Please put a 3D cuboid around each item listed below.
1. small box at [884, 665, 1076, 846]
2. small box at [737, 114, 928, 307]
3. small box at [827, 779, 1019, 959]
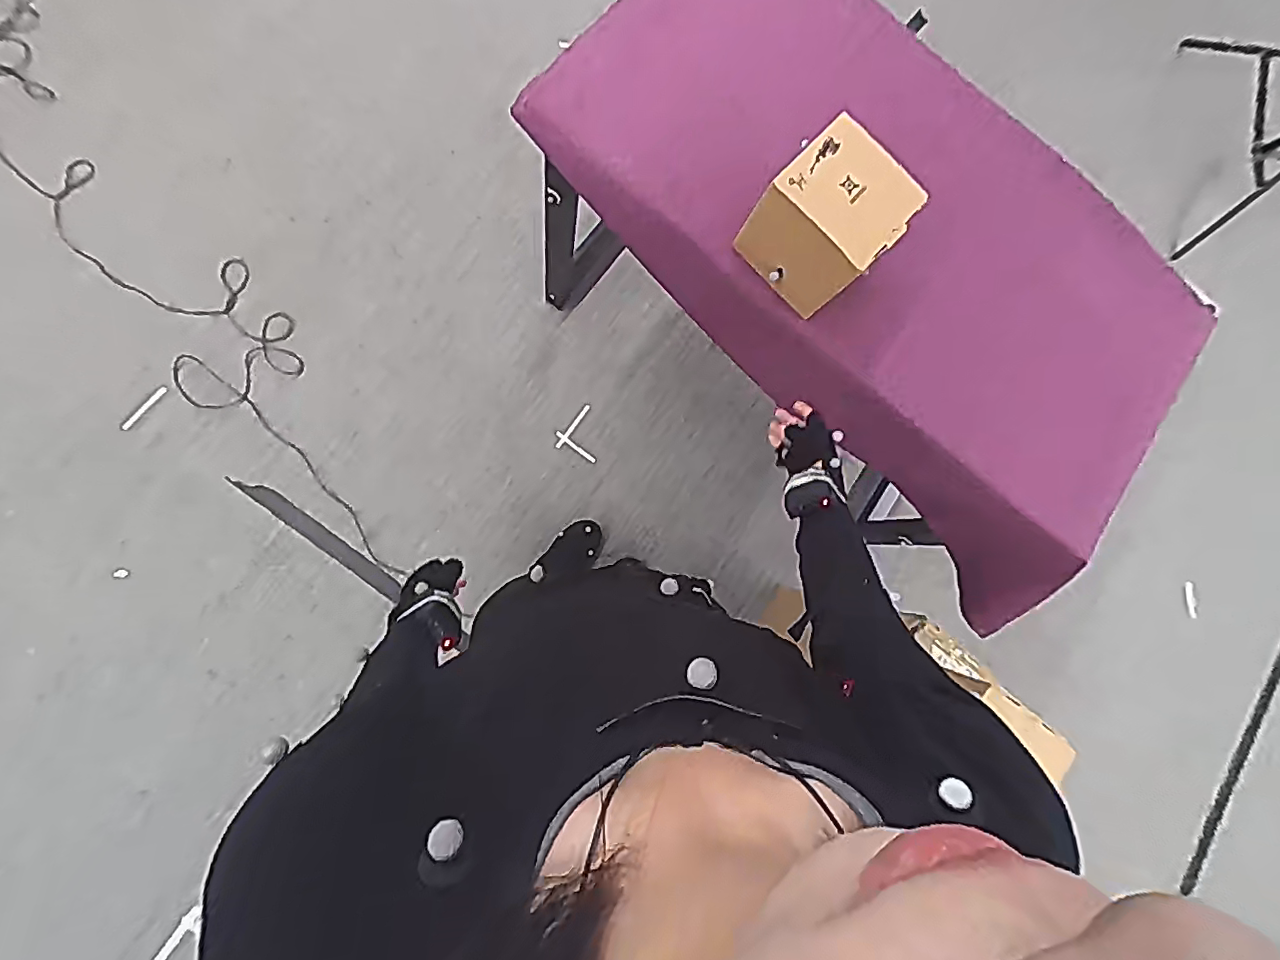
[{"bbox_3d":[0.539,0.430,0.882,0.168,0.176,0.179,38,81,-2],"label":"small box"},{"bbox_3d":[0.283,-0.391,0.826,0.179,0.176,0.168,44,78,-3],"label":"small box"},{"bbox_3d":[0.422,0.615,0.840,0.168,0.176,0.179,41,77,-2],"label":"small box"}]
